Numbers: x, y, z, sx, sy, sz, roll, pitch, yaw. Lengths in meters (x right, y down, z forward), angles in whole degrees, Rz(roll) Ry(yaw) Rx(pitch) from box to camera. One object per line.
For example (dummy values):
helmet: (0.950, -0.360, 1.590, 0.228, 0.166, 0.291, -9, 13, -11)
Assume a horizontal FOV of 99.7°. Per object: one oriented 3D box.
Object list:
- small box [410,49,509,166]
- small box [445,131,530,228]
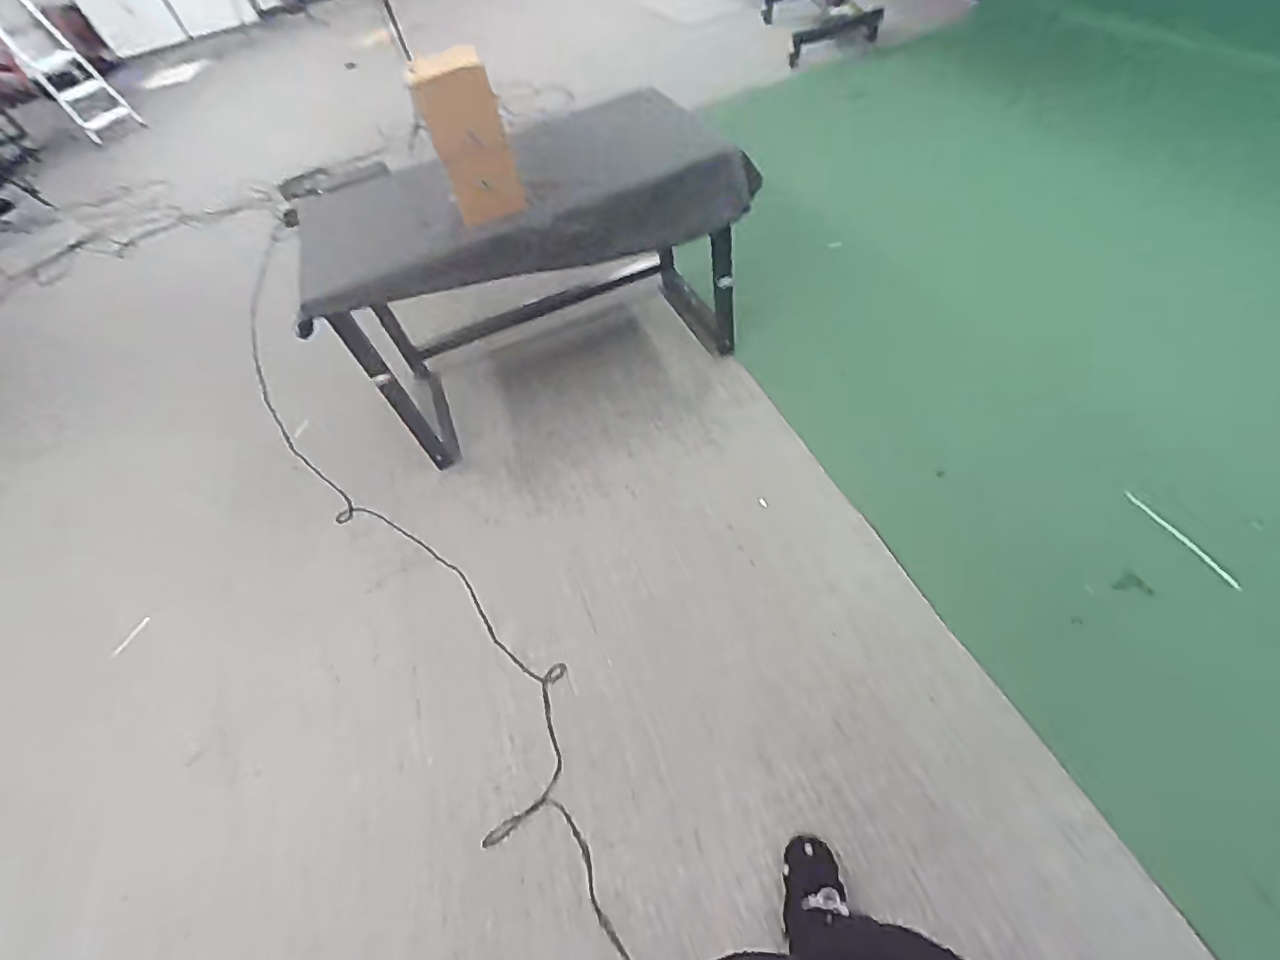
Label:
small box: (-0.425, -0.891, 1.297, 0.179, 0.176, 0.168, -20, 52, -5)
small box: (-0.400, -0.800, 1.428, 0.179, 0.176, 0.168, -19, 50, -3)
